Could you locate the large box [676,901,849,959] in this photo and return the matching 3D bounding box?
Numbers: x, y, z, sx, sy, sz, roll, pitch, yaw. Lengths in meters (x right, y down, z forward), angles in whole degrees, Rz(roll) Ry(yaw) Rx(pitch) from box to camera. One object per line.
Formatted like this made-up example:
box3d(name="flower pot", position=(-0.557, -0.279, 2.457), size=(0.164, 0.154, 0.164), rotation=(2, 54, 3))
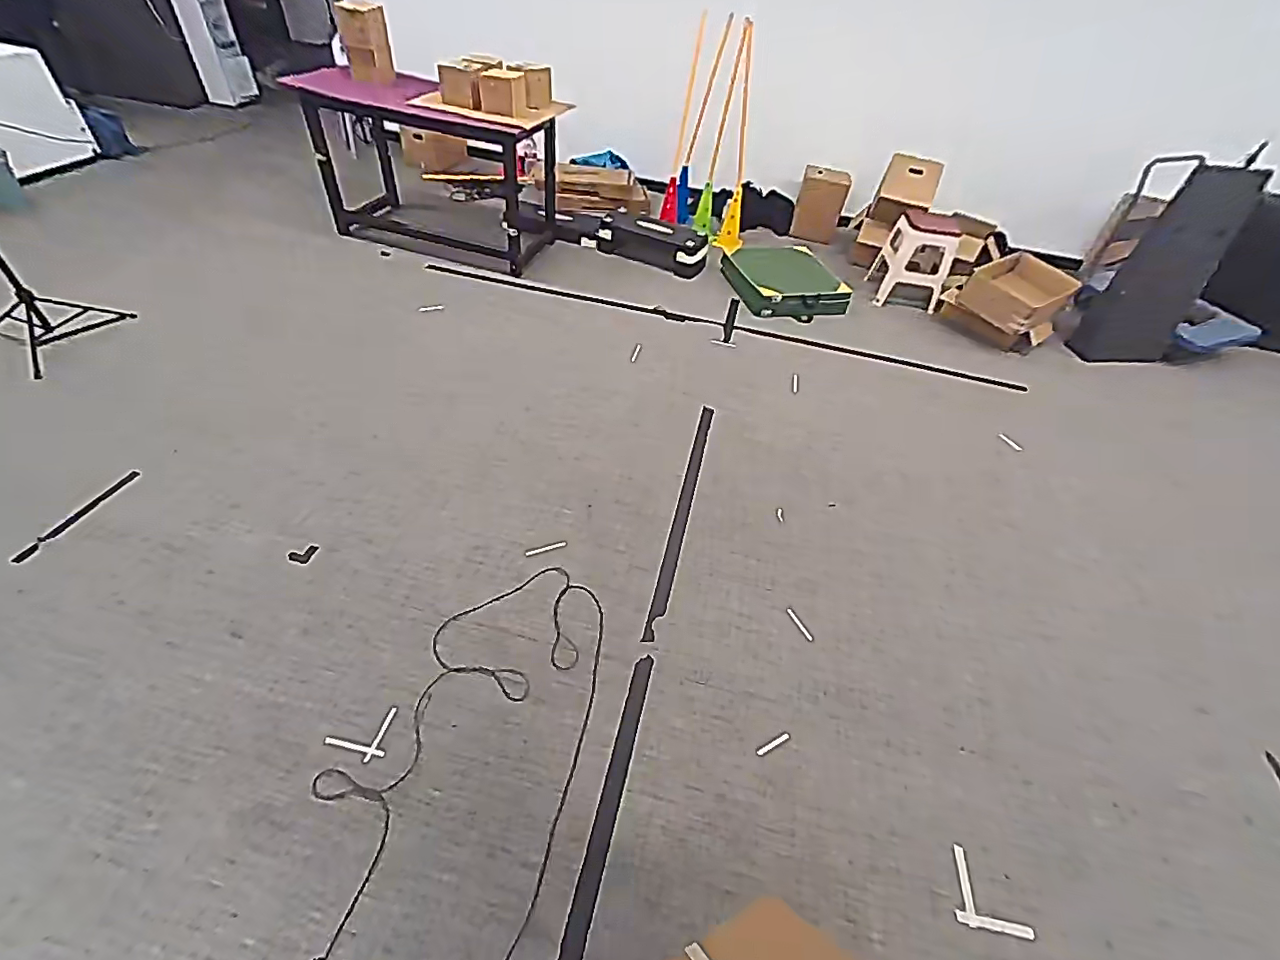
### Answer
box3d(name="large box", position=(0.189, 0.802, 0.618), size=(0.320, 0.408, 0.320), rotation=(-17, 79, -21))
